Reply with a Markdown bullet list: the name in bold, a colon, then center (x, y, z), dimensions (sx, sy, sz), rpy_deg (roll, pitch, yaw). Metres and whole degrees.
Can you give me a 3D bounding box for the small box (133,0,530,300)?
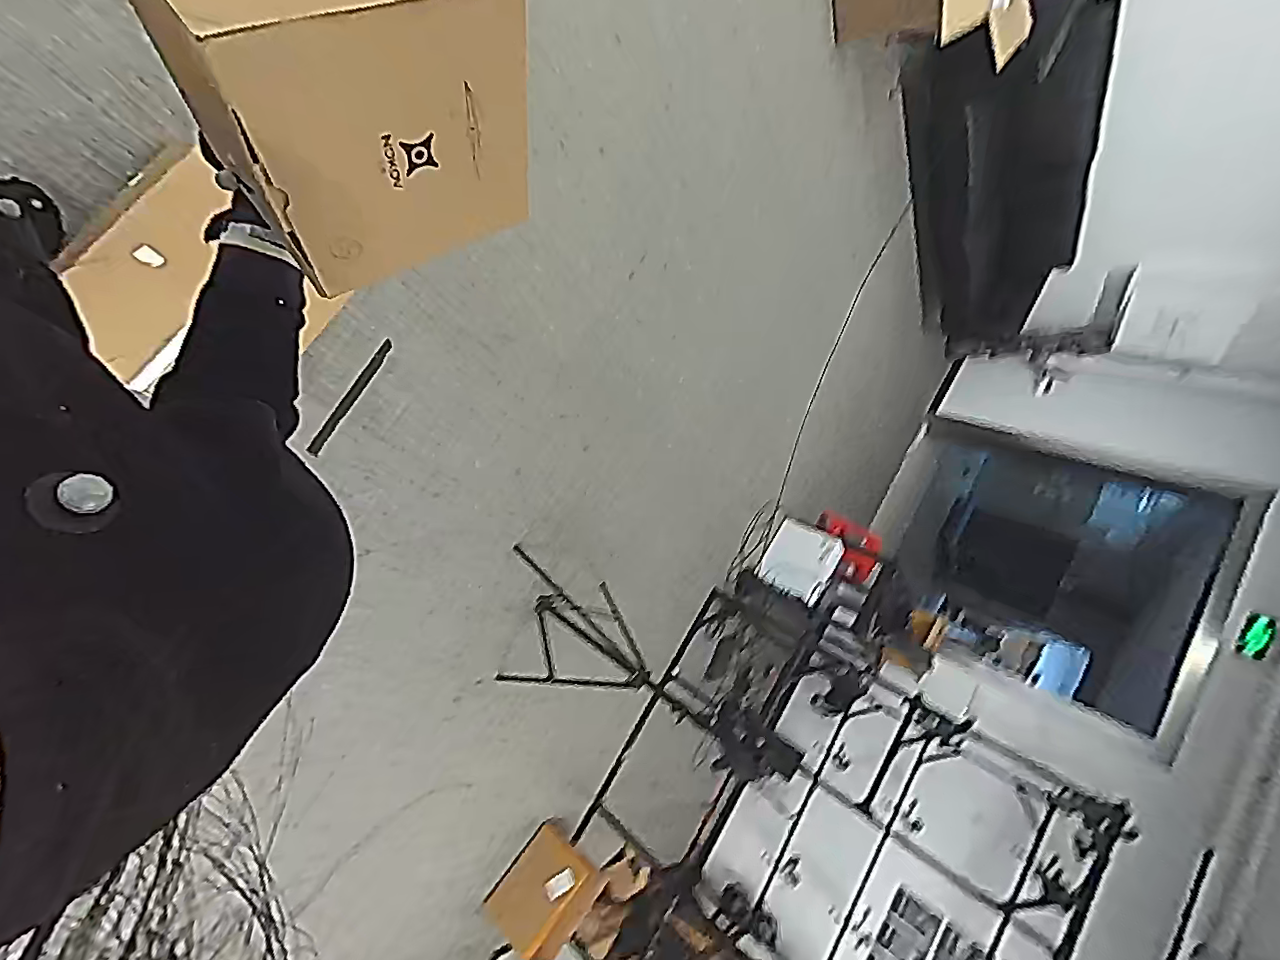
- **small box**: center (-0.194, -0.264, 0.359), dimensions (0.179, 0.176, 0.168), rpy_deg (-37, 169, -22)
